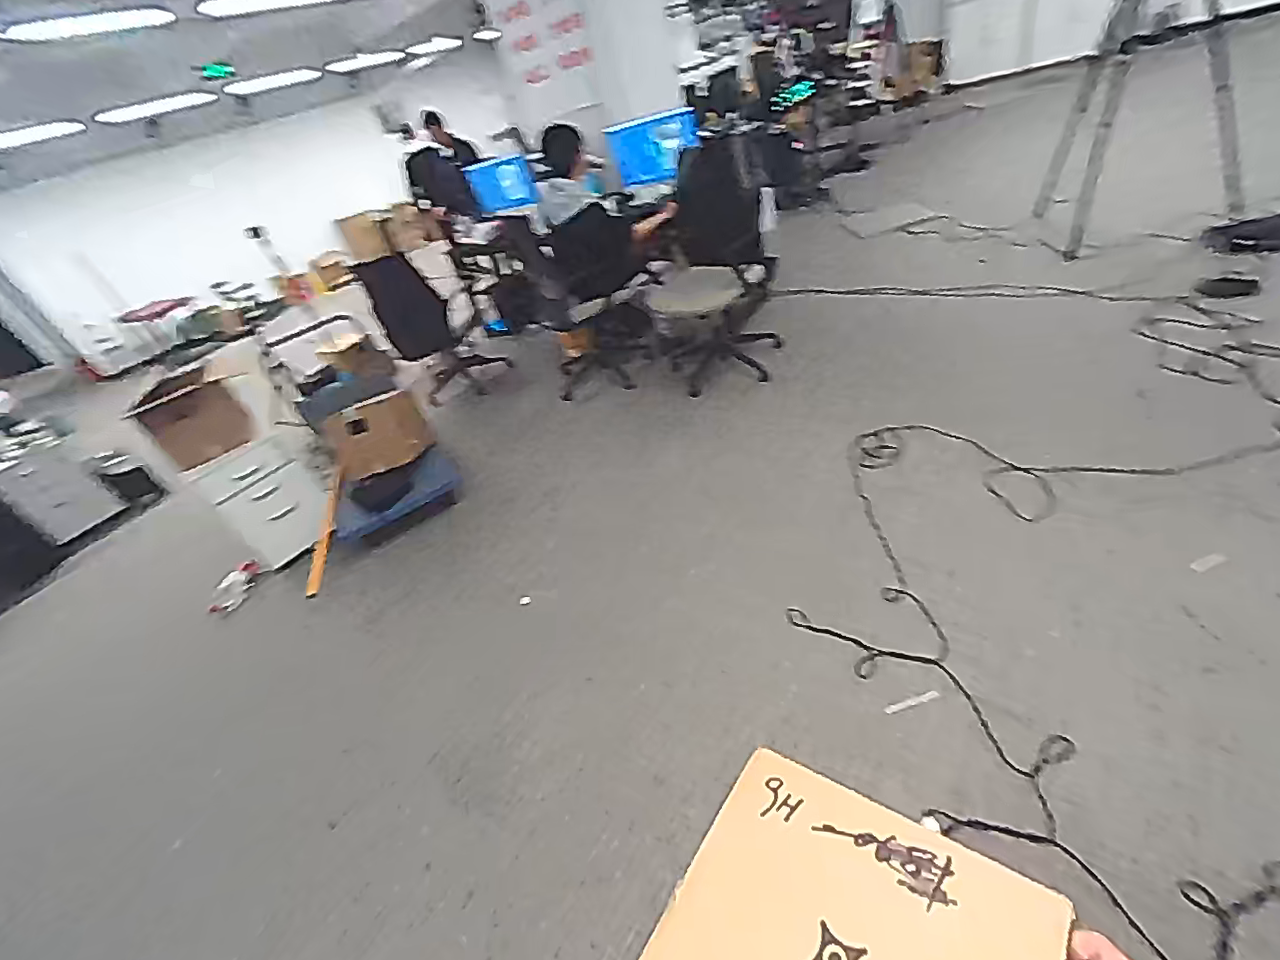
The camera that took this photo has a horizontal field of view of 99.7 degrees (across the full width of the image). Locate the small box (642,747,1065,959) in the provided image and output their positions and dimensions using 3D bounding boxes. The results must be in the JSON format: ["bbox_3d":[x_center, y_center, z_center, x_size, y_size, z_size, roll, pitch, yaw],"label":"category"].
[{"bbox_3d":[0.118,0.302,0.302,0.168,0.176,0.179,10,44,42],"label":"small box"}]
